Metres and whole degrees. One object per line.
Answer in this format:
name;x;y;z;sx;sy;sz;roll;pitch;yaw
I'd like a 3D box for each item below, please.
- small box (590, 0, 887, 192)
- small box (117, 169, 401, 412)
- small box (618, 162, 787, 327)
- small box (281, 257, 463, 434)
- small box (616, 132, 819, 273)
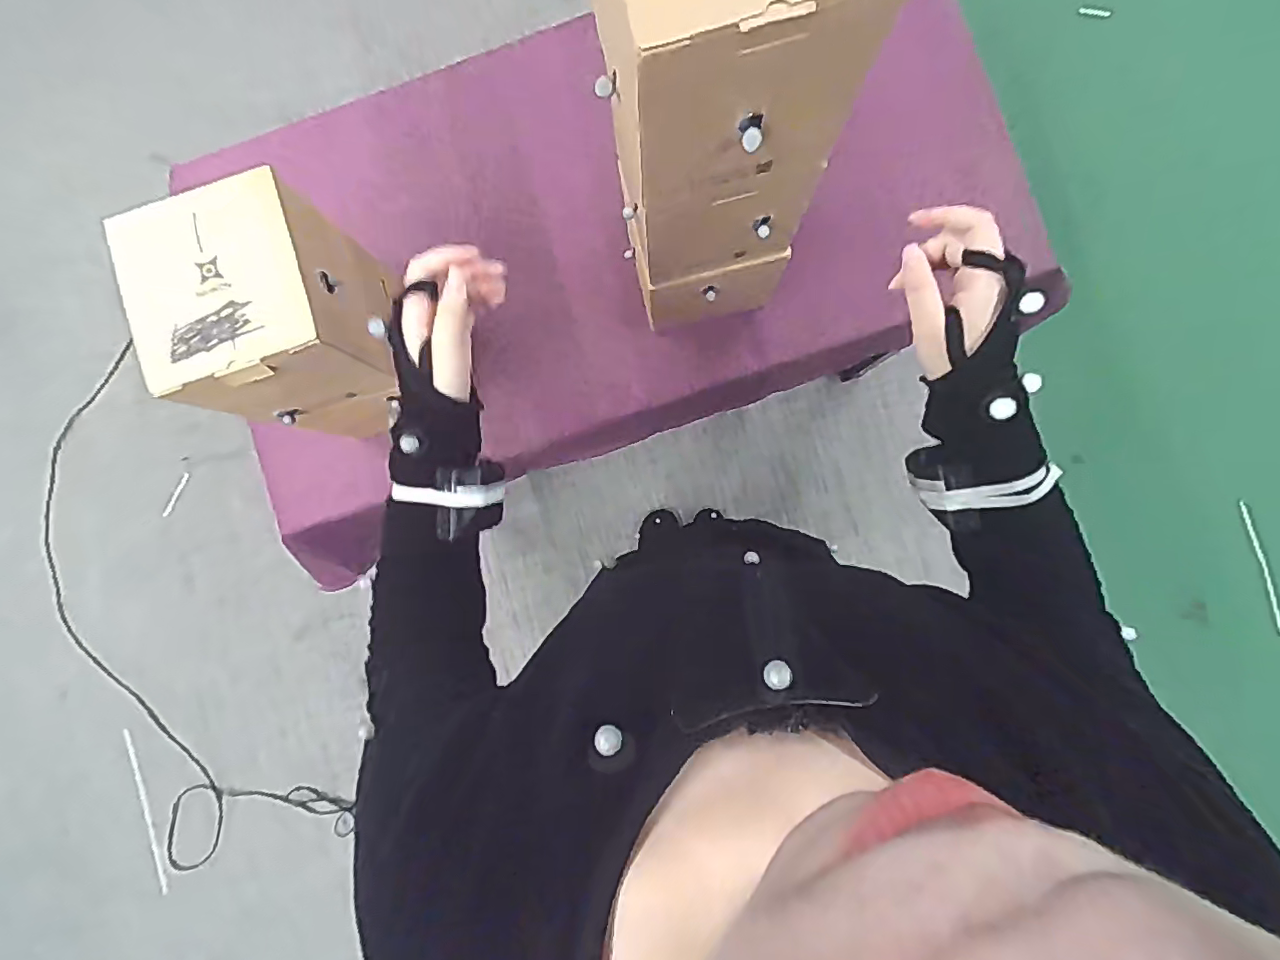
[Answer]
small box;0.053;-0.341;0.394;0.168;0.176;0.179;-14;88;2
small box;-0.386;-0.181;0.581;0.168;0.176;0.179;-18;85;2
small box;0.079;-0.320;0.720;0.179;0.176;0.168;-13;88;3
small box;-0.374;-0.170;0.745;0.179;0.176;0.168;-17;87;2
small box;0.067;-0.335;0.558;0.168;0.176;0.179;-13;86;3
